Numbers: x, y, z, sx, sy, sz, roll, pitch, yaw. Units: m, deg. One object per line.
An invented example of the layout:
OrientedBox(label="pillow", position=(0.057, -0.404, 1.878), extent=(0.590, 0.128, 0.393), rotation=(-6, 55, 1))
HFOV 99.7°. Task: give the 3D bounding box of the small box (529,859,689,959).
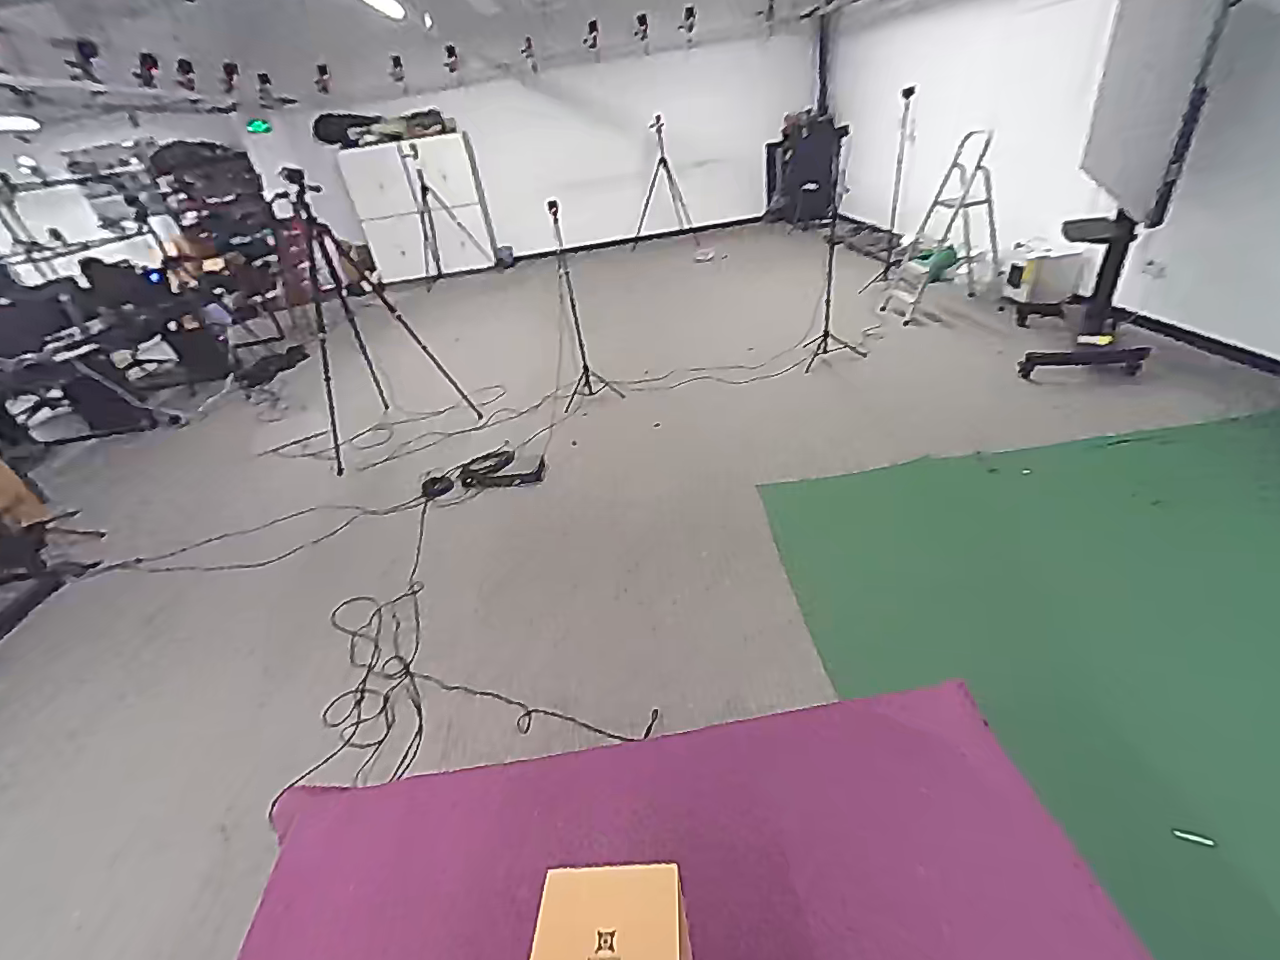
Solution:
OrientedBox(label="small box", position=(-0.029, 0.572, 0.611), extent=(0.168, 0.176, 0.179), rotation=(-5, 20, 4))
